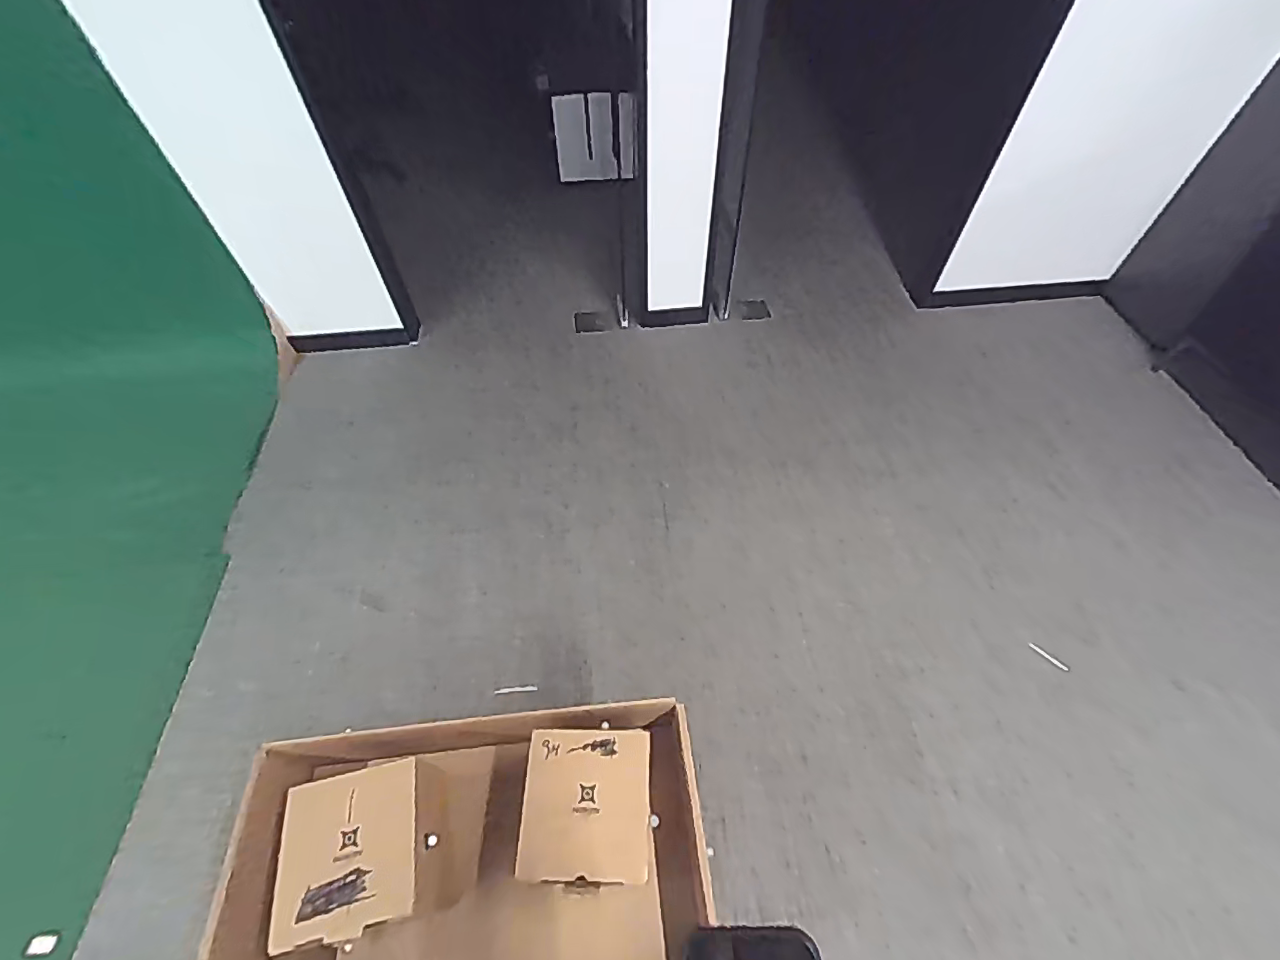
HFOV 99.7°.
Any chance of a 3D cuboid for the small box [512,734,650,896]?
[{"bbox_3d":[-0.071,0.471,0.765,0.168,0.176,0.179,1,55,1],"label":"small box"}]
